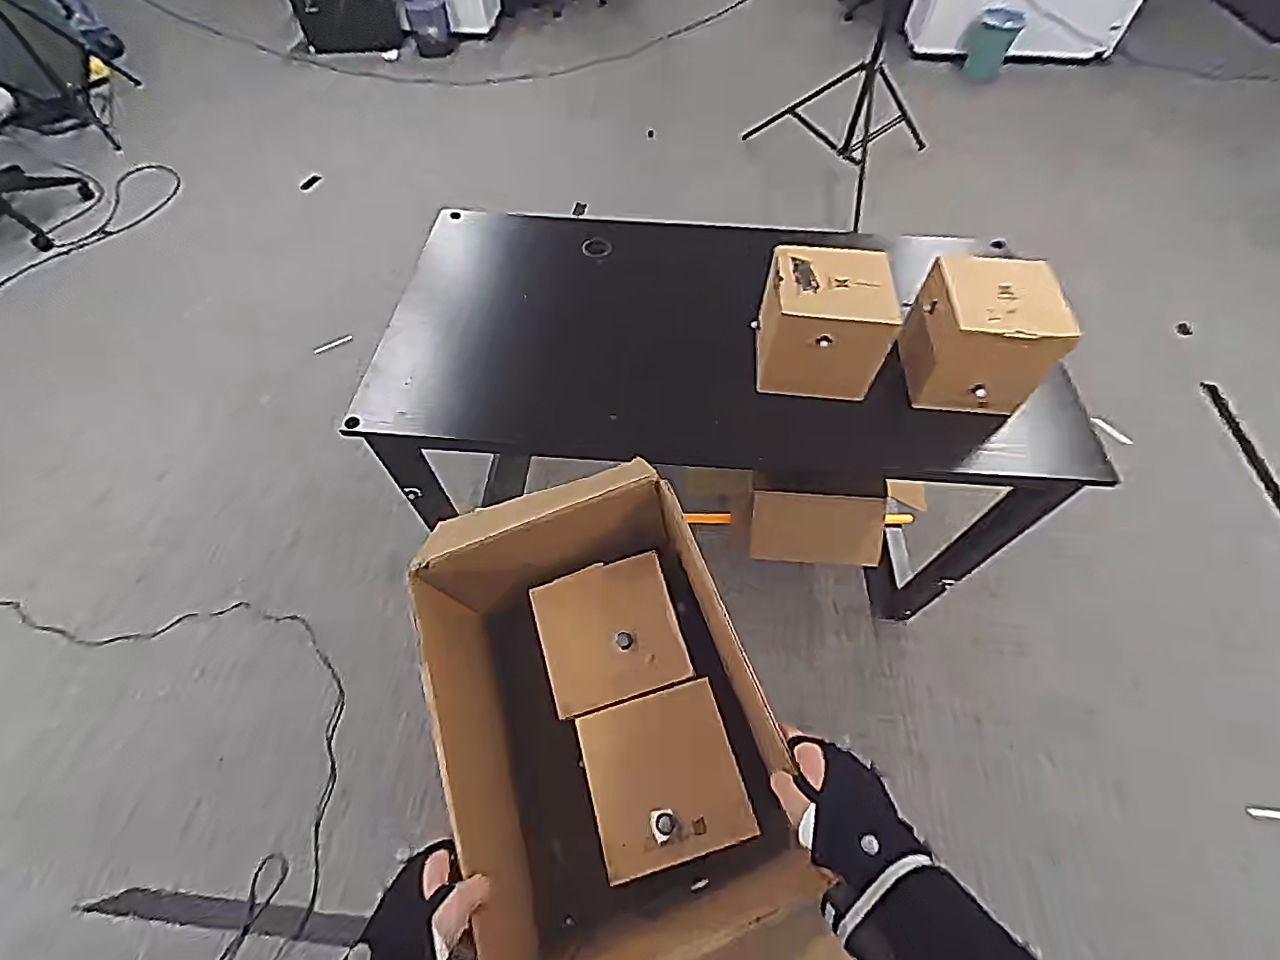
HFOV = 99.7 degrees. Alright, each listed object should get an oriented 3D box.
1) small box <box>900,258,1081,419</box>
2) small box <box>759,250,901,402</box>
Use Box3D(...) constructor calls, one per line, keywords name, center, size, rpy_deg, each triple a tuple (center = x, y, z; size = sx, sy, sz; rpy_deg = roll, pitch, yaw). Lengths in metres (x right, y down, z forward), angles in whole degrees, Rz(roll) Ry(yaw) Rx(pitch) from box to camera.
Box3D(name="small box", center=(0.535, -0.222, 0.859), size=(0.168, 0.176, 0.179), rpy_deg=(5, 57, 4))
Box3D(name="small box", center=(0.291, -0.243, 0.874), size=(0.179, 0.176, 0.168), rpy_deg=(6, 58, 3))
